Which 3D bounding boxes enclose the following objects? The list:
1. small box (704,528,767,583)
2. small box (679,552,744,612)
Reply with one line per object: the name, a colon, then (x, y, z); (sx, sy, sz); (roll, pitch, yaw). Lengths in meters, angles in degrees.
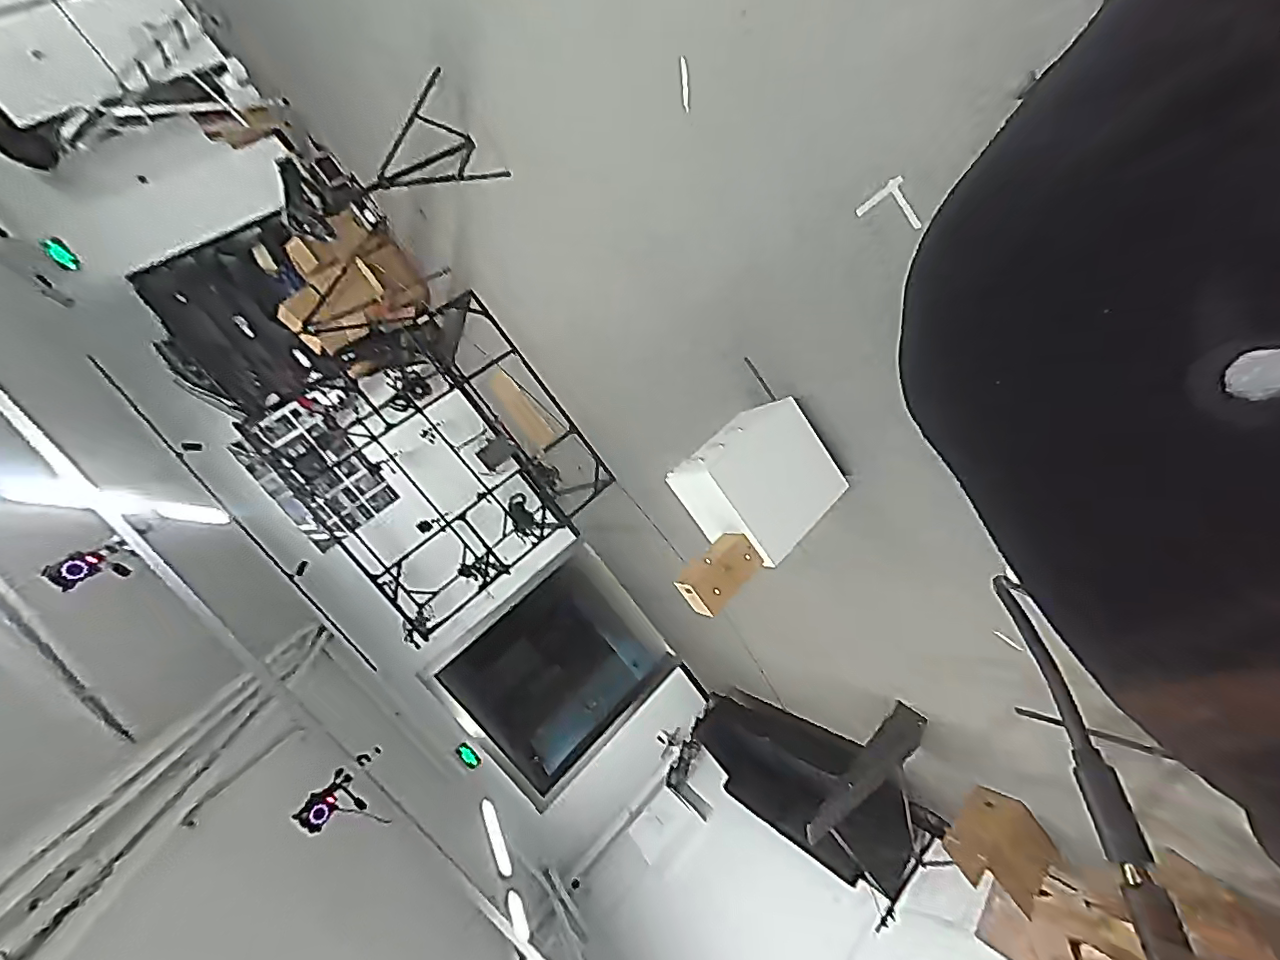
small box: (0.419, 0.324, 2.352); (0.168, 0.176, 0.179); (53, 160, -10)
small box: (0.304, 0.426, 2.292); (0.179, 0.176, 0.168); (53, 161, -11)
